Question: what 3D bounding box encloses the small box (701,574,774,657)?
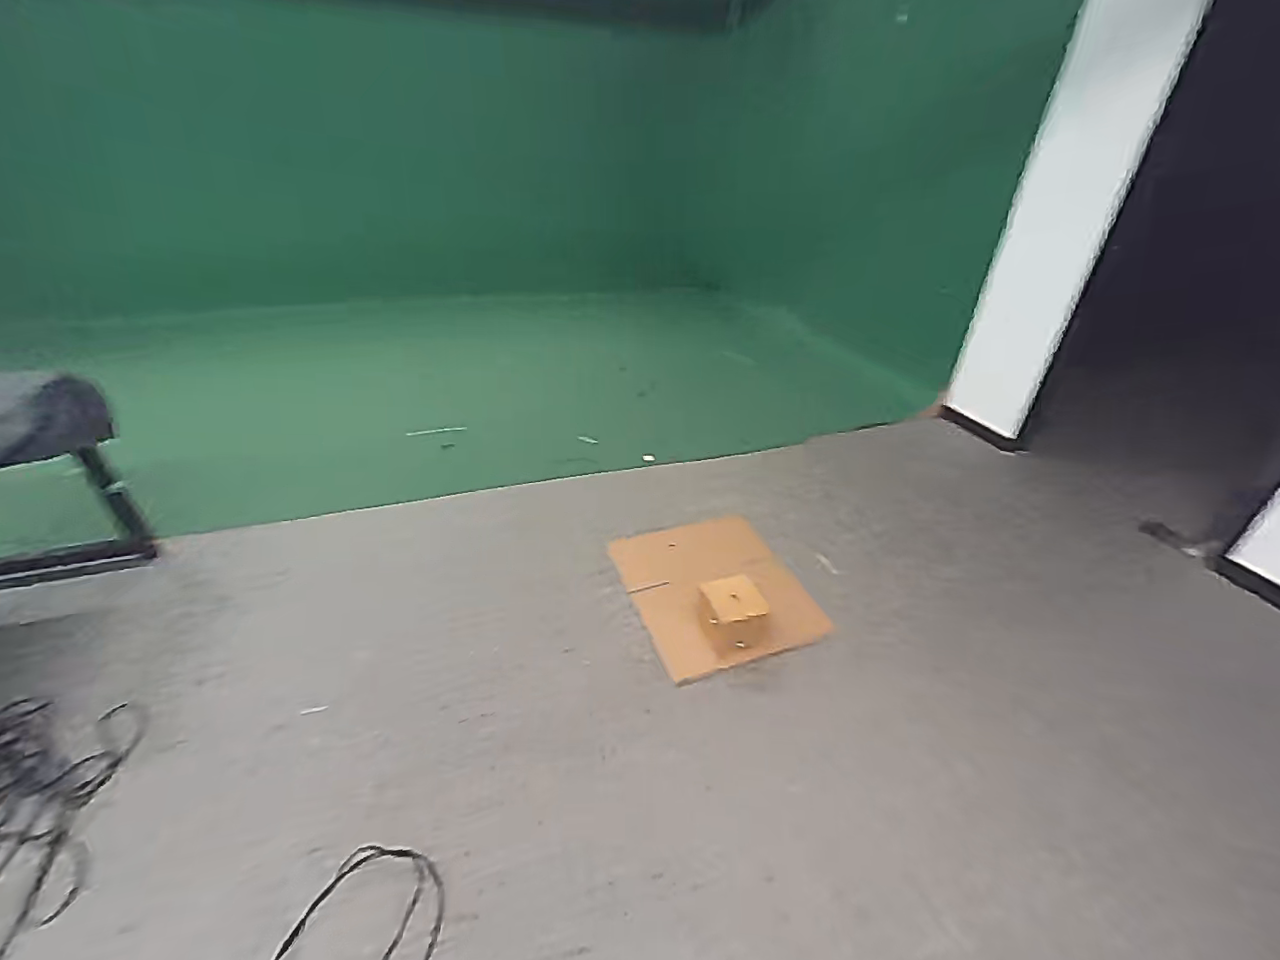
[{"bbox_3d":[0.304,0.434,1.735,0.168,0.176,0.179,-9,35,-16],"label":"small box"}]
